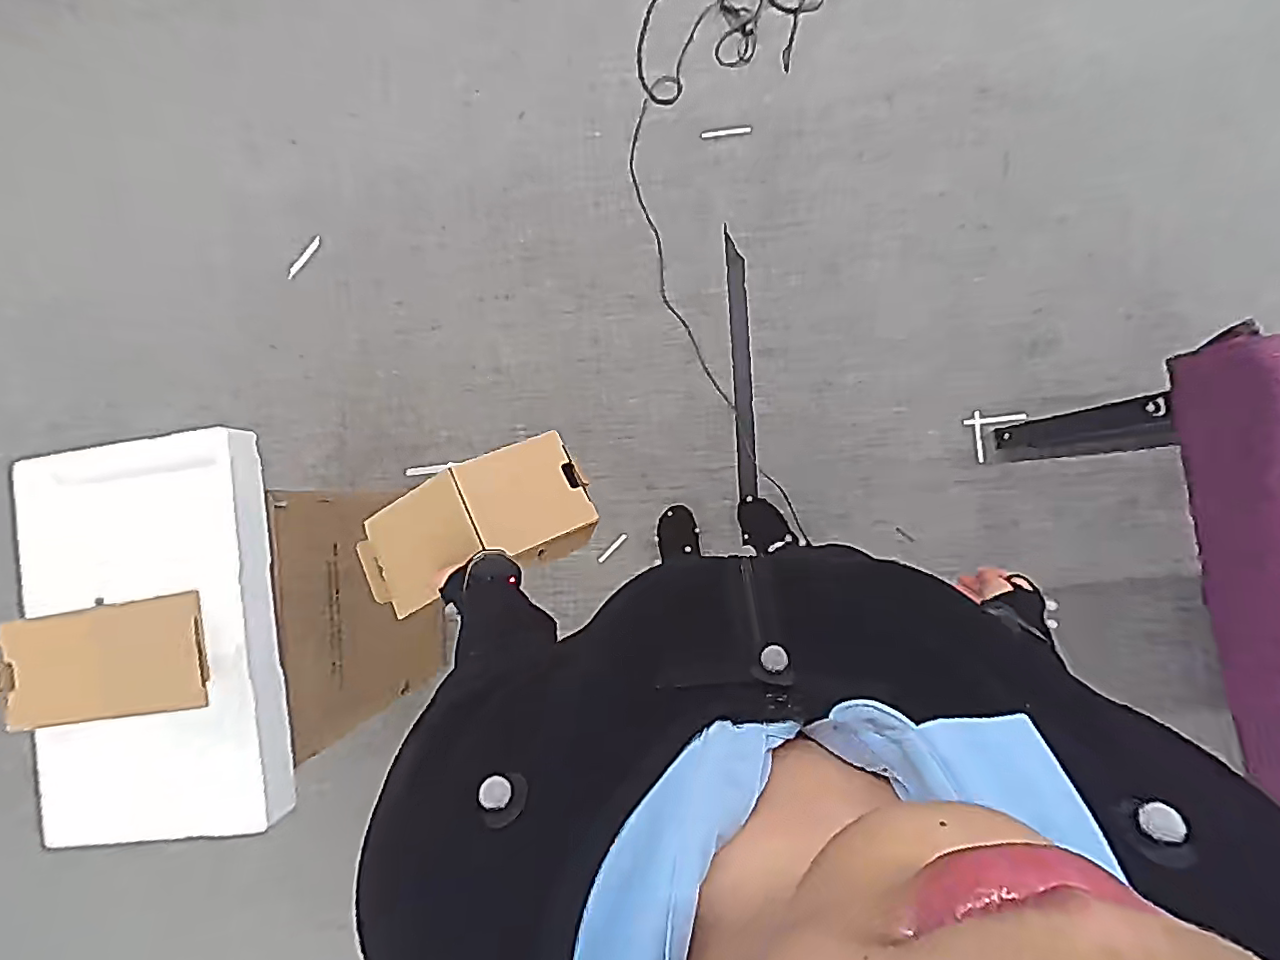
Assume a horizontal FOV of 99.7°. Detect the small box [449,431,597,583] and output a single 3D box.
[{"bbox_3d":[-0.187,0.051,0.873,0.179,0.176,0.168,-22,76,-20],"label":"small box"}]
